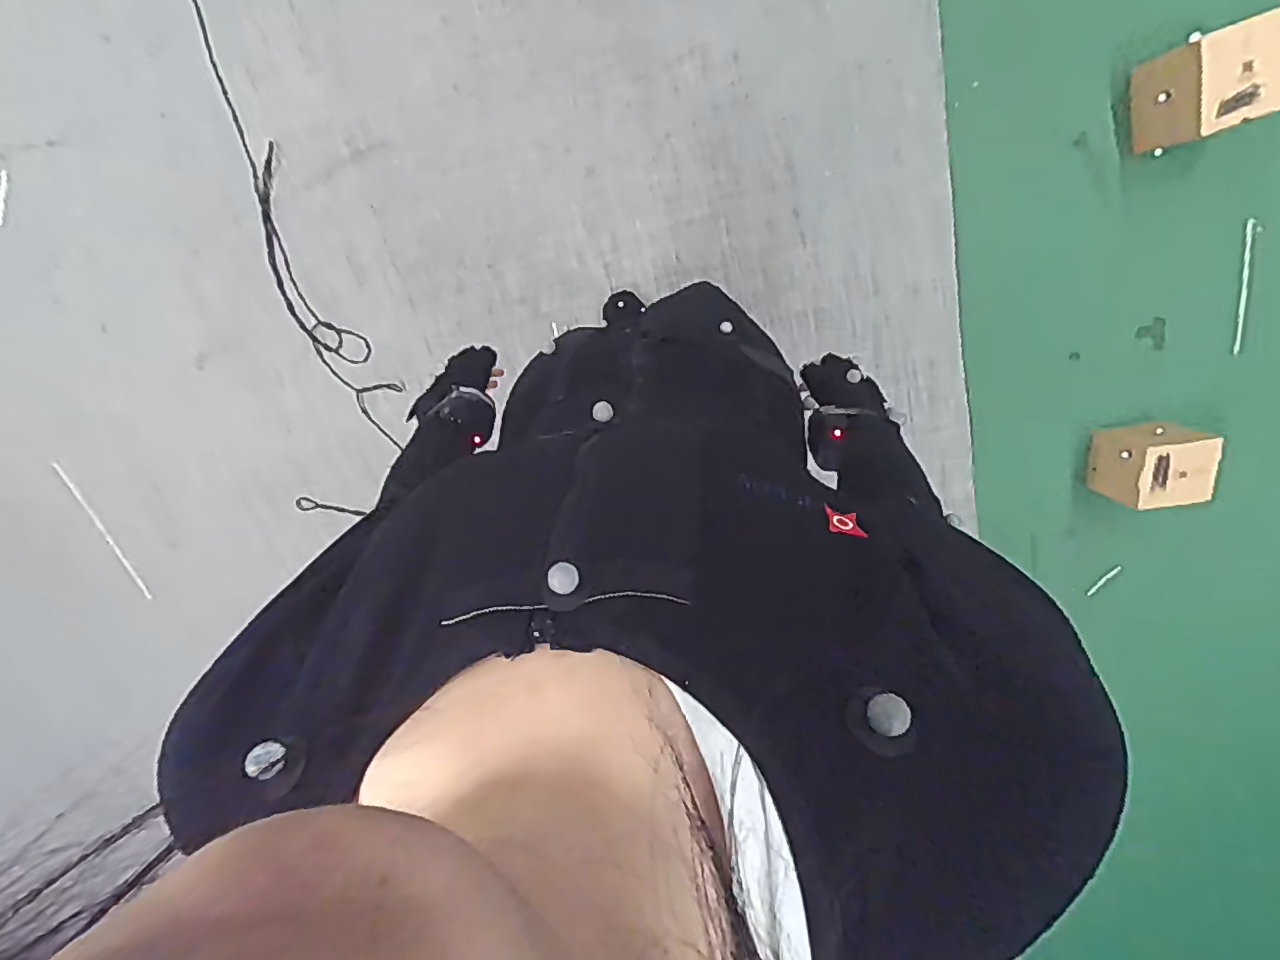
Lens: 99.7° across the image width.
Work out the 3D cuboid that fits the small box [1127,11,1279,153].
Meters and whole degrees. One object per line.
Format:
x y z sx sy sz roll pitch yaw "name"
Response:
1.149 -0.797 1.106 0.168 0.176 0.179 -17 107 8 "small box"
